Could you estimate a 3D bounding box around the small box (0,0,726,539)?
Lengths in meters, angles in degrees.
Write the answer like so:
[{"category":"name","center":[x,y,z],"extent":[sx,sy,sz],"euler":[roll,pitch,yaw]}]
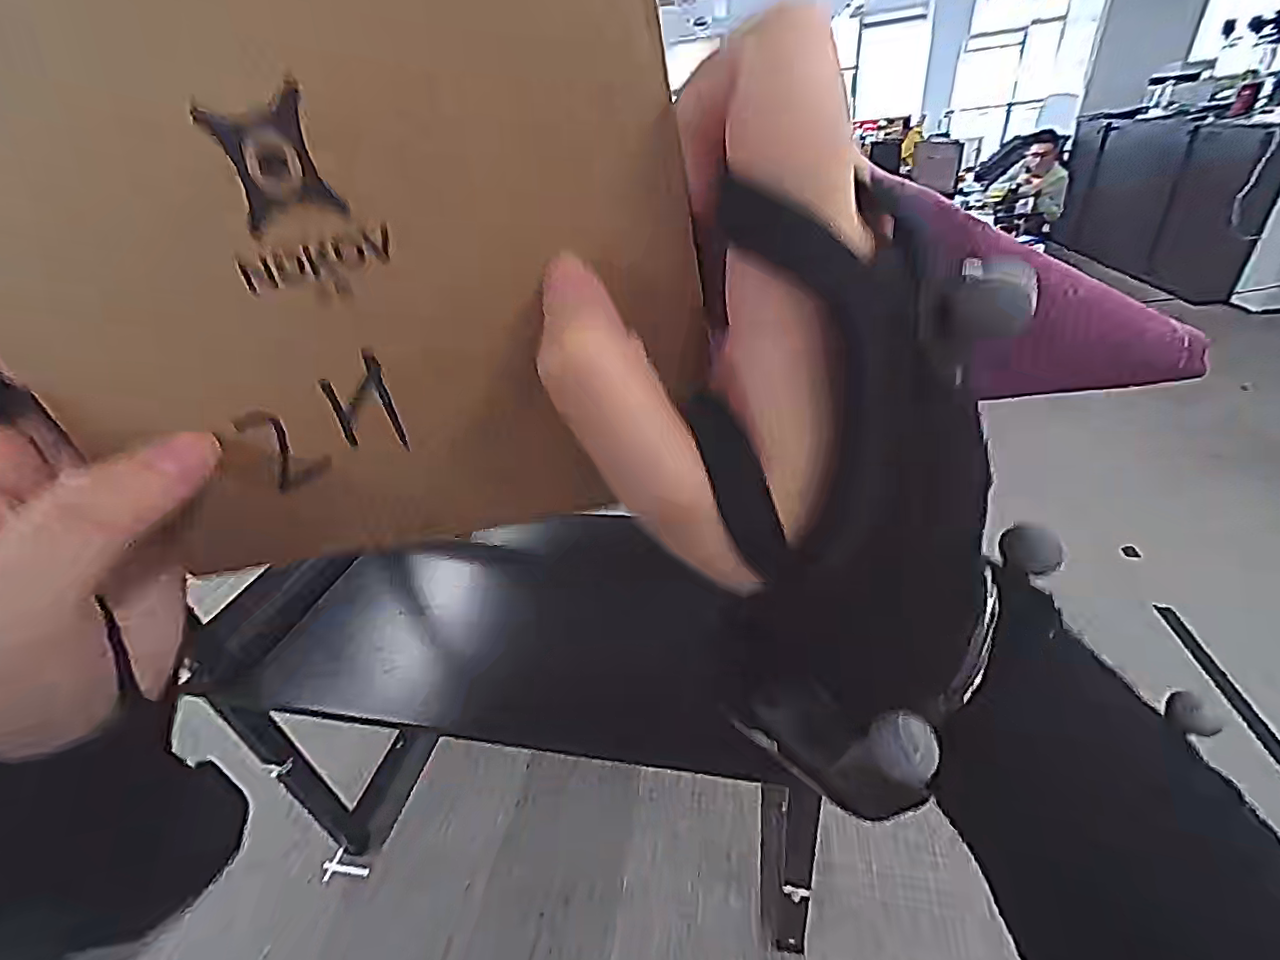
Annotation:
[{"category":"small box","center":[-0.071,-0.107,0.182],"extent":[0.168,0.179,0.176],"euler":[-9,28,7]}]
